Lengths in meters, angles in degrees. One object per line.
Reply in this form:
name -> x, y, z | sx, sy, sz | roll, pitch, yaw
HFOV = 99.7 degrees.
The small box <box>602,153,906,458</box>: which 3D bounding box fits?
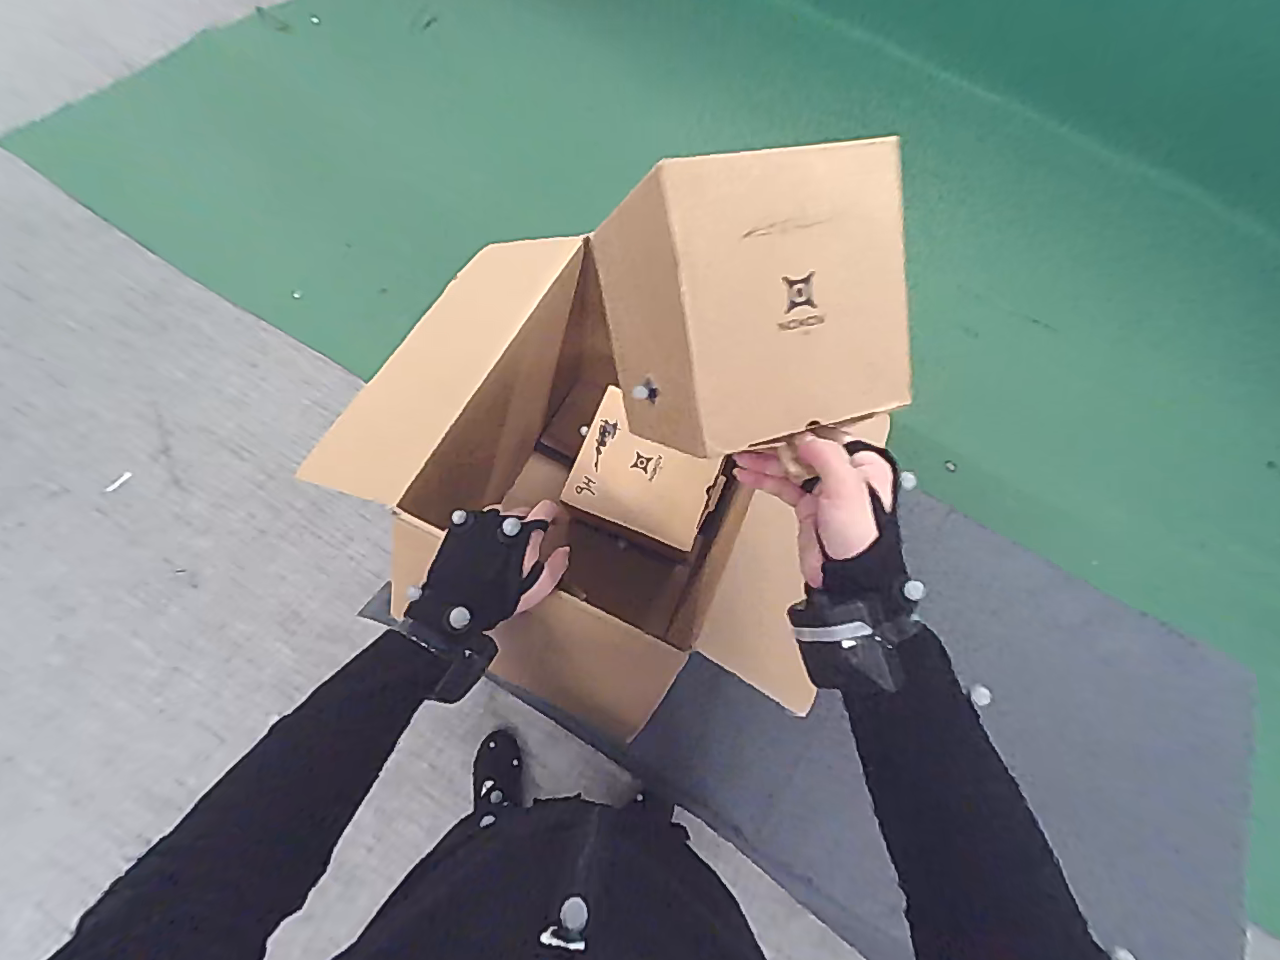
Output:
small box -> 0.080, -0.130, 0.435 | 0.168, 0.176, 0.179 | -16, 103, -15
